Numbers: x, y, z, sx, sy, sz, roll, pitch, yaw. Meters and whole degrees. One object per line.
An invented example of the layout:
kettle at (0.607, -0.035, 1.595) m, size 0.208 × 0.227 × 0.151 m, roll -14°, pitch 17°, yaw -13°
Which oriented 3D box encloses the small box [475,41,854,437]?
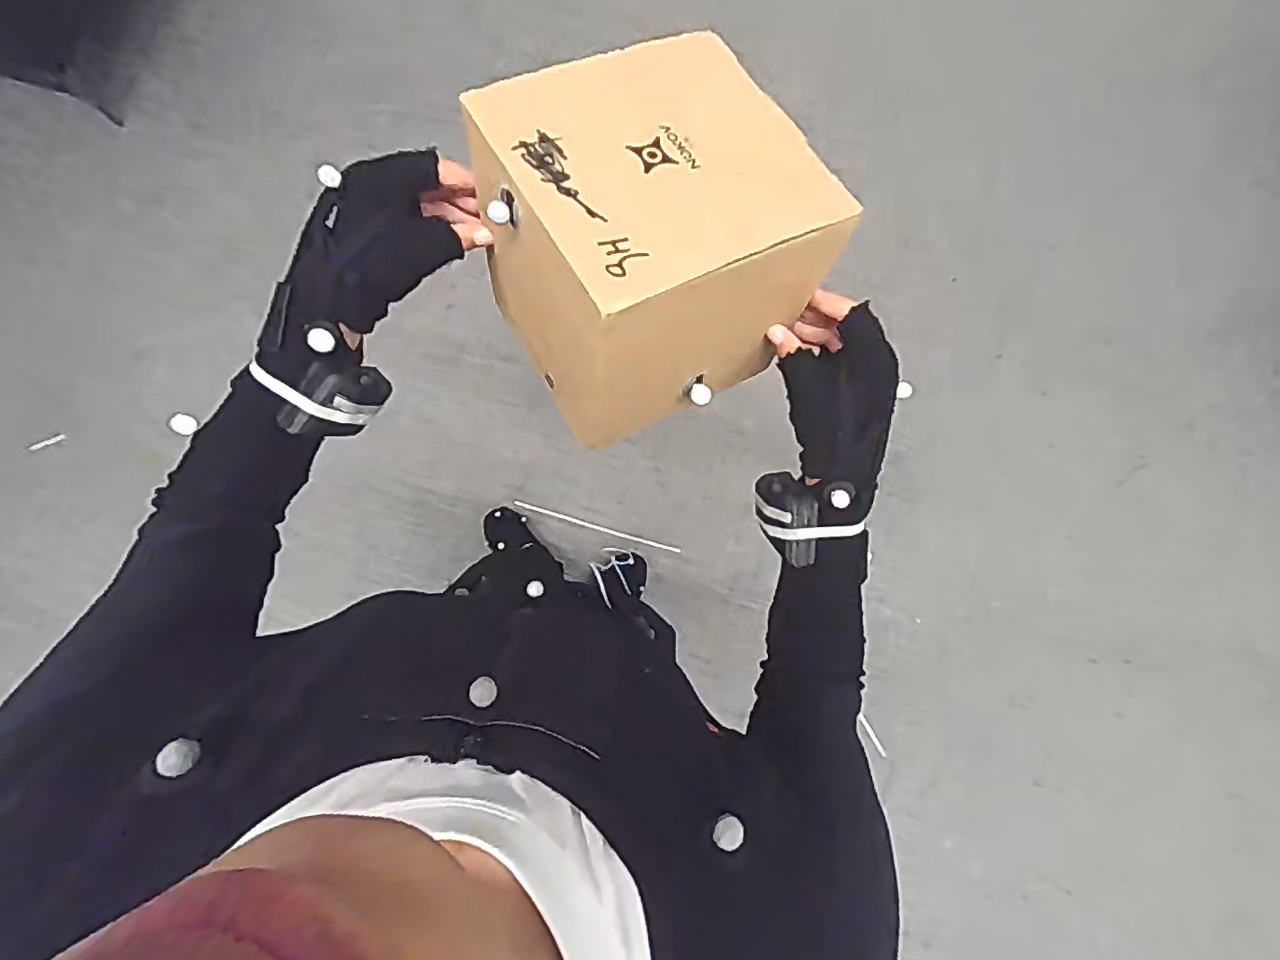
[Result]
small box at (0.004, -0.159, 0.388) m, size 0.179 × 0.176 × 0.168 m, roll -27°, pitch 74°, yaw -18°
